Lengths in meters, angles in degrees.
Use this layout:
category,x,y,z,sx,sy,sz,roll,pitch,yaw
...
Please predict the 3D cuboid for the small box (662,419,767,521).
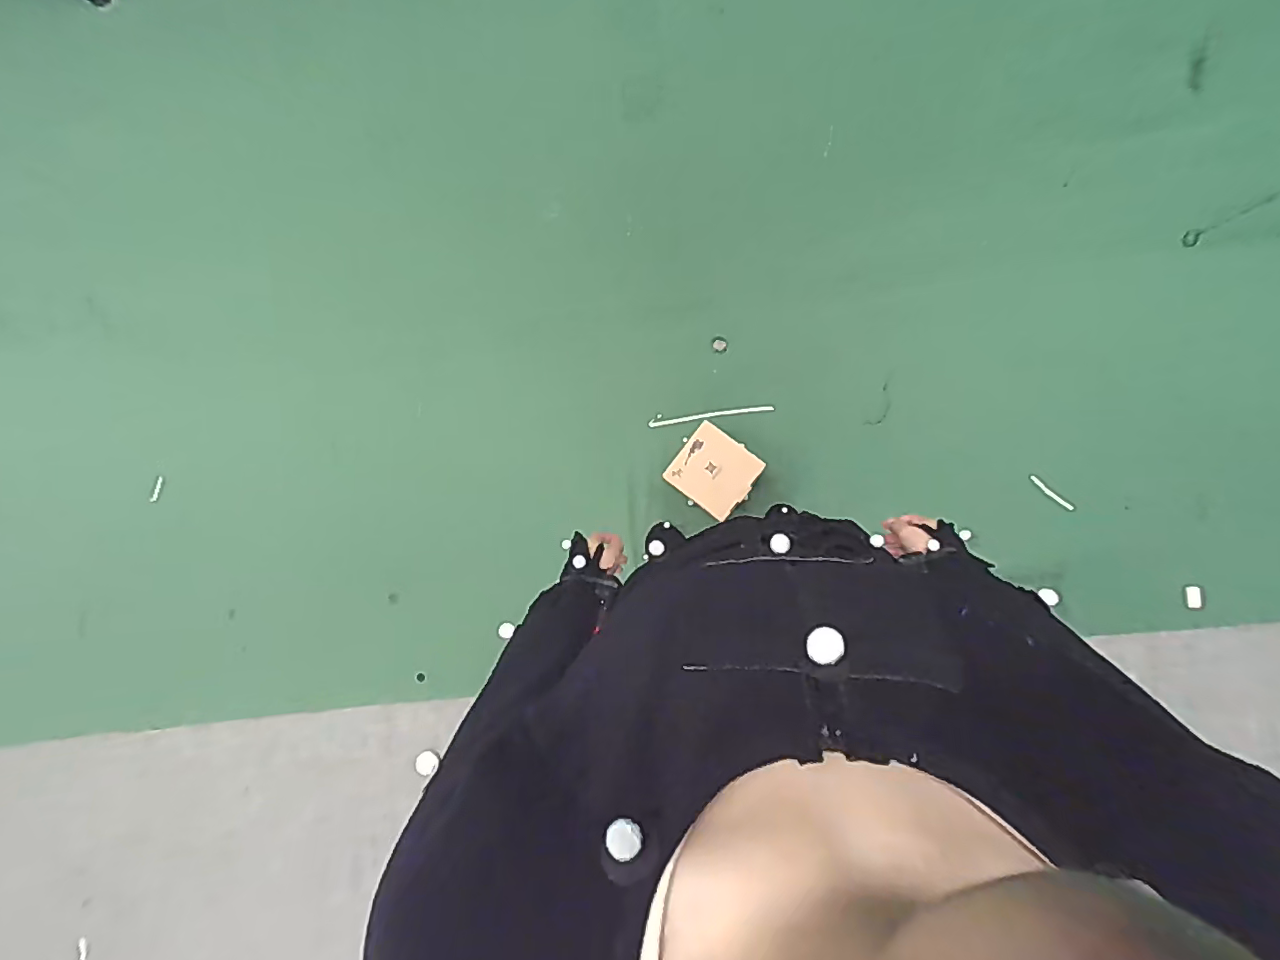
category,x,y,z,sx,sy,sz,roll,pitch,yaw
small box,0.175,-0.022,1.284,0.179,0.176,0.168,38,93,7
